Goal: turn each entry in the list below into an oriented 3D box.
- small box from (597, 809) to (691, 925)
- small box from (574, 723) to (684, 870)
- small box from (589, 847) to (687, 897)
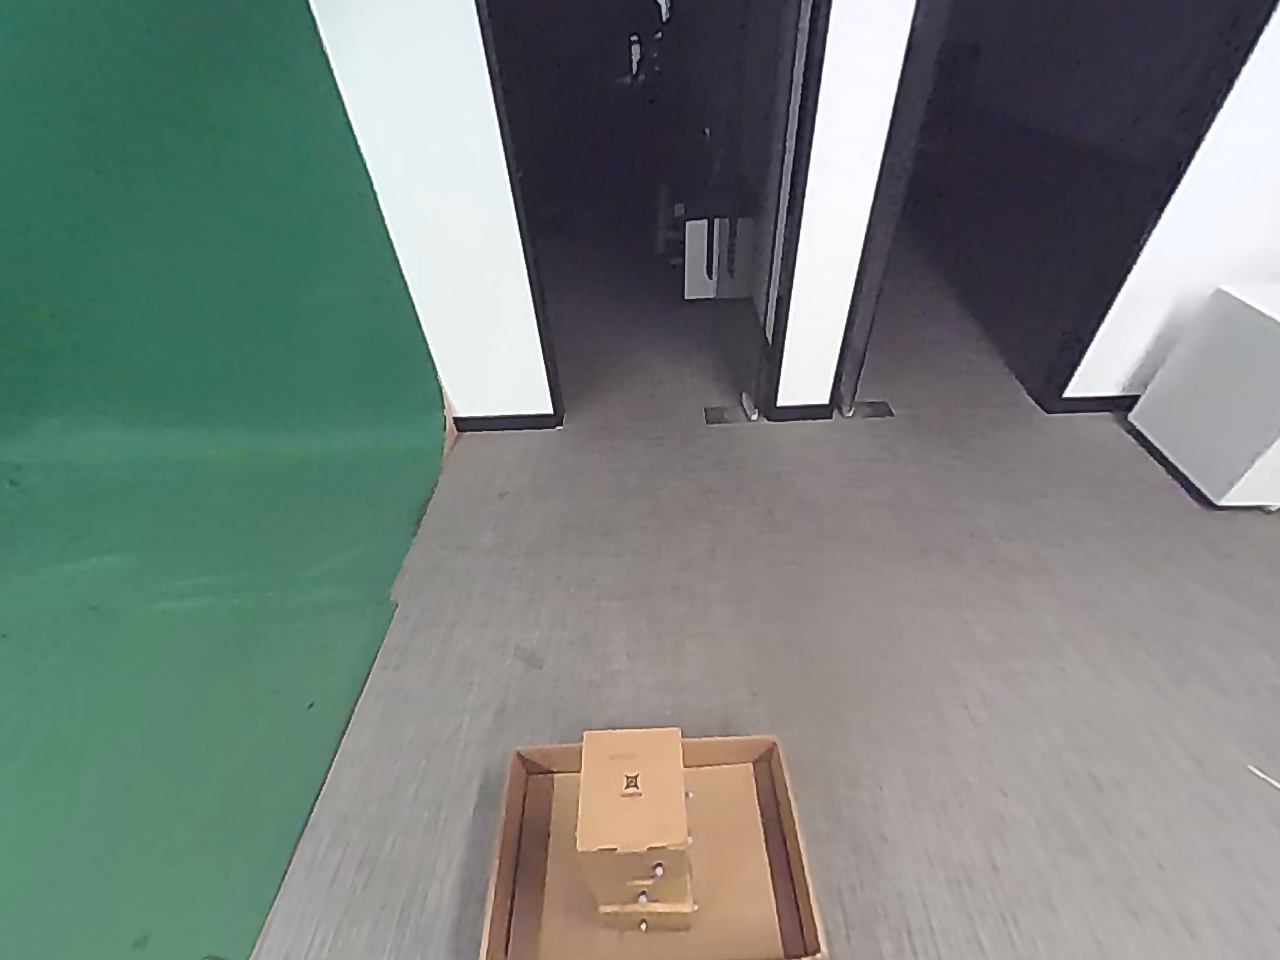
[{"bbox_3d":[0.014,0.799,1.120,0.179,0.176,0.168,-2,40,4],"label":"small box"},{"bbox_3d":[-0.012,0.533,0.906,0.168,0.176,0.179,-2,40,1],"label":"small box"},{"bbox_3d":[-0.002,0.668,1.027,0.168,0.176,0.179,-5,41,0],"label":"small box"}]
